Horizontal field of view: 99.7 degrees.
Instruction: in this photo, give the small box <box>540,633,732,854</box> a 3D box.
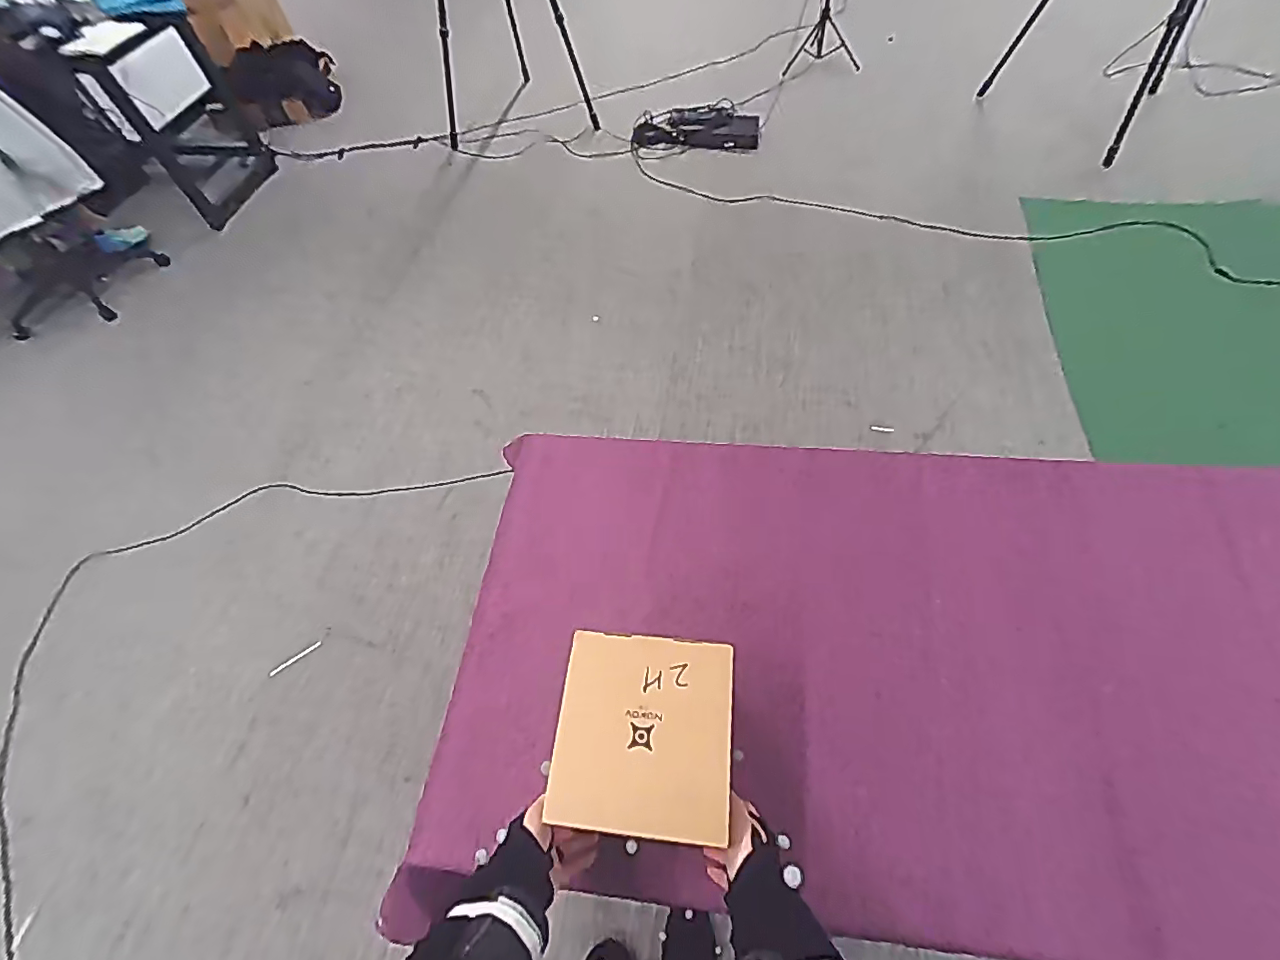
[{"bbox_3d":[0.008,0.281,0.577,0.168,0.176,0.179,4,56,7],"label":"small box"}]
